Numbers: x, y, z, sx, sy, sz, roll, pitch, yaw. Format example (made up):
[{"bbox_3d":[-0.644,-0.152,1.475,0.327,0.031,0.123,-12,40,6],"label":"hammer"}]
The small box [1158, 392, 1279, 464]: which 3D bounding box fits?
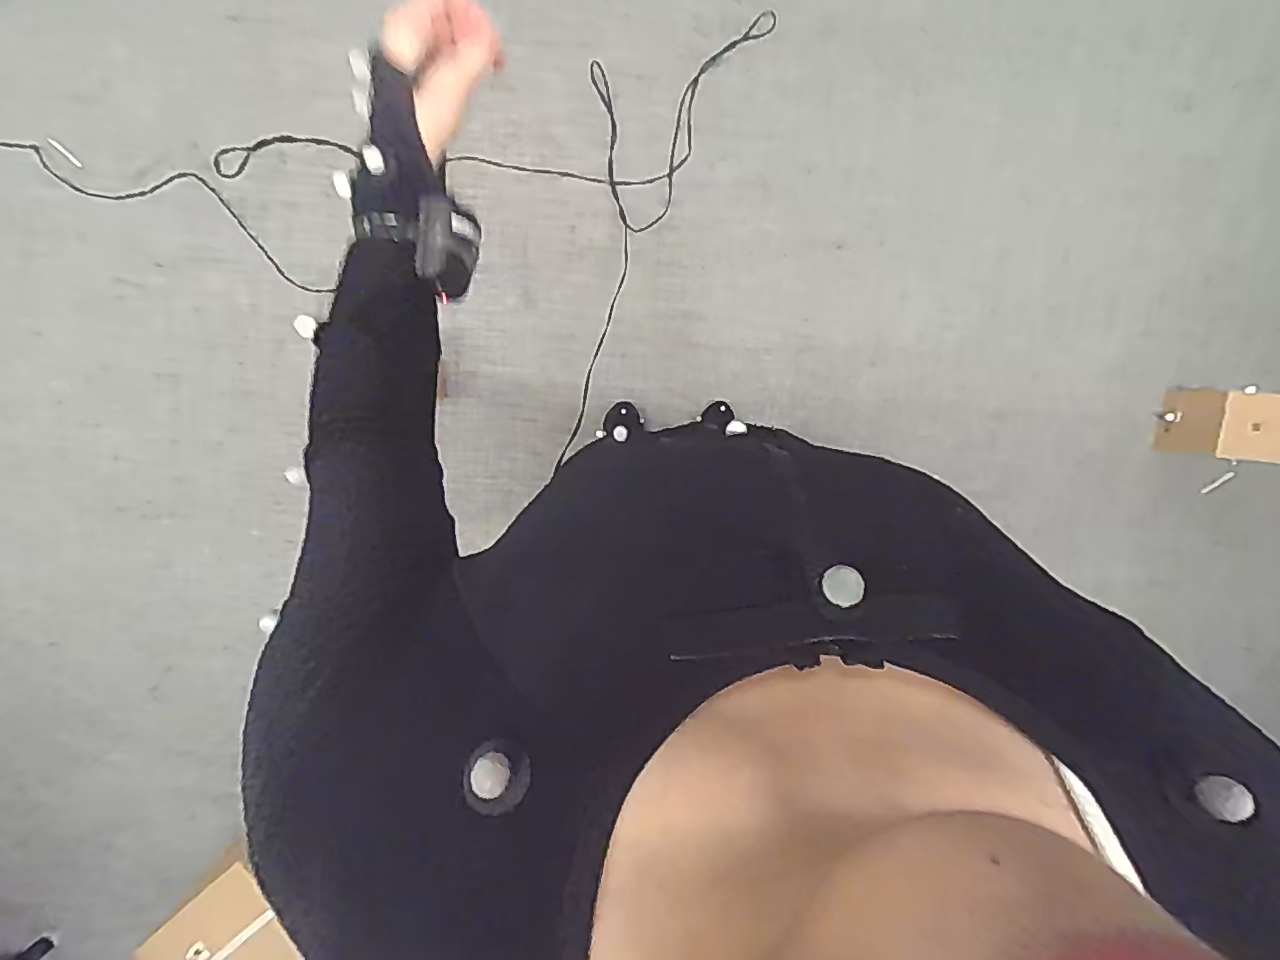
[{"bbox_3d":[1.506,-0.136,1.388,0.179,0.176,0.168,4,97,1],"label":"small box"}]
